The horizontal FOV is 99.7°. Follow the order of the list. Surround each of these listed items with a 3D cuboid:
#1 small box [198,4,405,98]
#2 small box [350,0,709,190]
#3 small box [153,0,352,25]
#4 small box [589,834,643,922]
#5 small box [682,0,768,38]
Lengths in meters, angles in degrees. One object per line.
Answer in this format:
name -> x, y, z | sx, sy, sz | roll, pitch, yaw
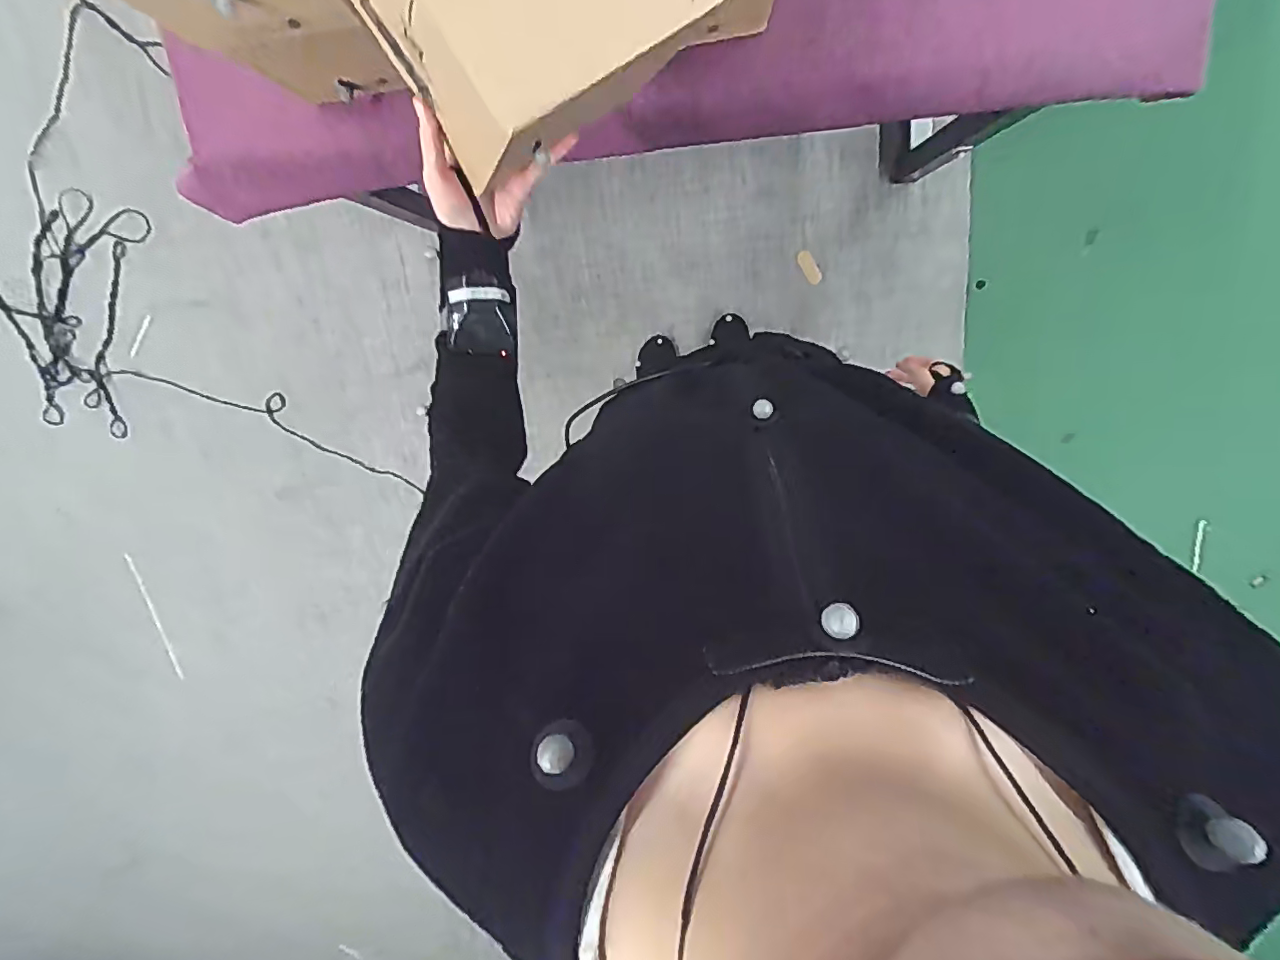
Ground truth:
small box -> -0.340, -0.536, 0.556 | 0.168, 0.176, 0.179 | -6, 106, 5
small box -> -0.082, -0.323, 0.348 | 0.176, 0.179, 0.168 | -38, 117, -7
small box -> -0.347, -0.481, 0.402 | 0.168, 0.176, 0.179 | -5, 106, 4
small box -> -0.079, 1.324, 1.809 | 0.168, 0.176, 0.179 | 2, 106, 4
small box -> 0.047, -0.567, 0.528 | 0.168, 0.176, 0.179 | -6, 104, 5
